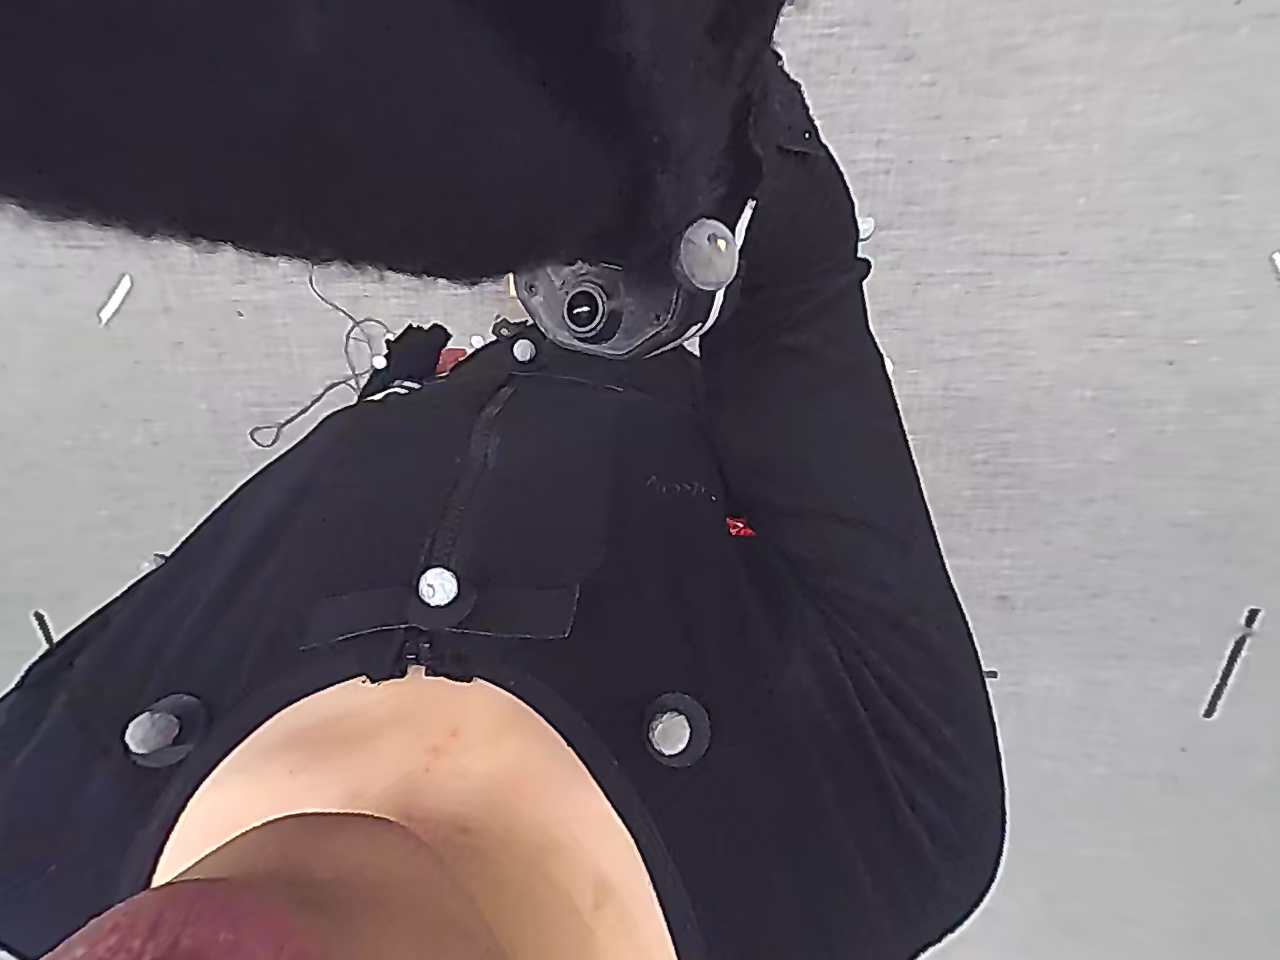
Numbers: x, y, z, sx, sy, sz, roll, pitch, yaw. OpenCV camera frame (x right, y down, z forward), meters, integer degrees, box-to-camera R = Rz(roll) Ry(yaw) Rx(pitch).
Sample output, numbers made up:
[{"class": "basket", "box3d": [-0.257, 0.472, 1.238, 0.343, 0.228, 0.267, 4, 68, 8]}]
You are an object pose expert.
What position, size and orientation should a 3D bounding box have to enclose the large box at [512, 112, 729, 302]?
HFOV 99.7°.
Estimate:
[{"class": "large box", "box3d": [-0.043, -0.557, 1.169, 0.408, 0.320, 0.320, 3, 109, -1]}]
